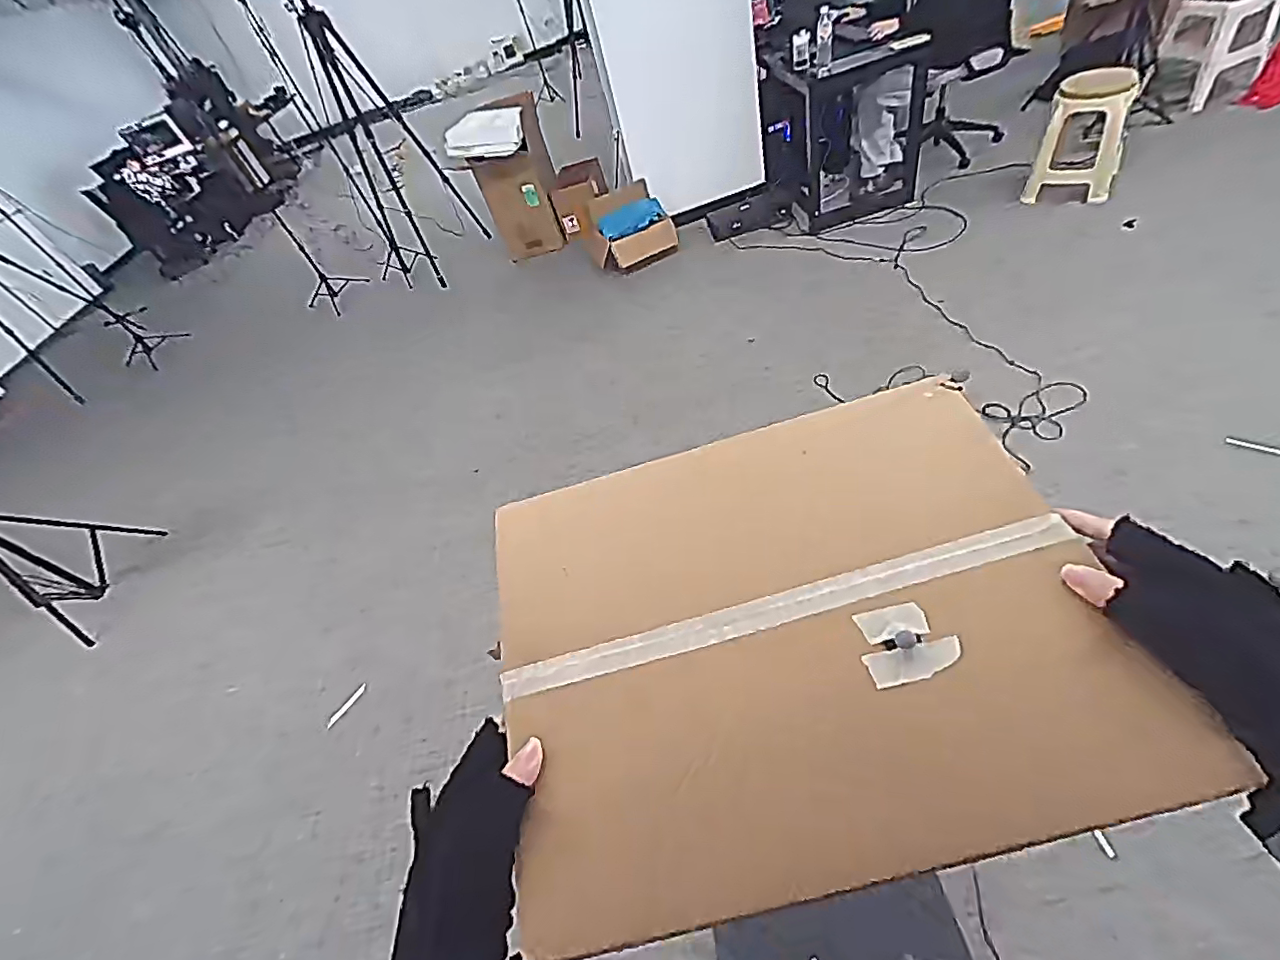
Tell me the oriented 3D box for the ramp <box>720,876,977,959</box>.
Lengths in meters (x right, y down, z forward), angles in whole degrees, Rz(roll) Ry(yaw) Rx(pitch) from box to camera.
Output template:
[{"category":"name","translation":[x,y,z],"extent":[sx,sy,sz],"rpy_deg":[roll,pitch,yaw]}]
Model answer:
[{"category":"ramp","translation":[0.432,1.193,0.774],"extent":[0.509,0.206,0.991],"rpy_deg":[-17,45,7]}]

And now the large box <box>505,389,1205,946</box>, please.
[{"category":"large box","translation":[0.127,0.178,0.515],"extent":[0.408,0.320,0.320],"rpy_deg":[-17,55,3]}]
